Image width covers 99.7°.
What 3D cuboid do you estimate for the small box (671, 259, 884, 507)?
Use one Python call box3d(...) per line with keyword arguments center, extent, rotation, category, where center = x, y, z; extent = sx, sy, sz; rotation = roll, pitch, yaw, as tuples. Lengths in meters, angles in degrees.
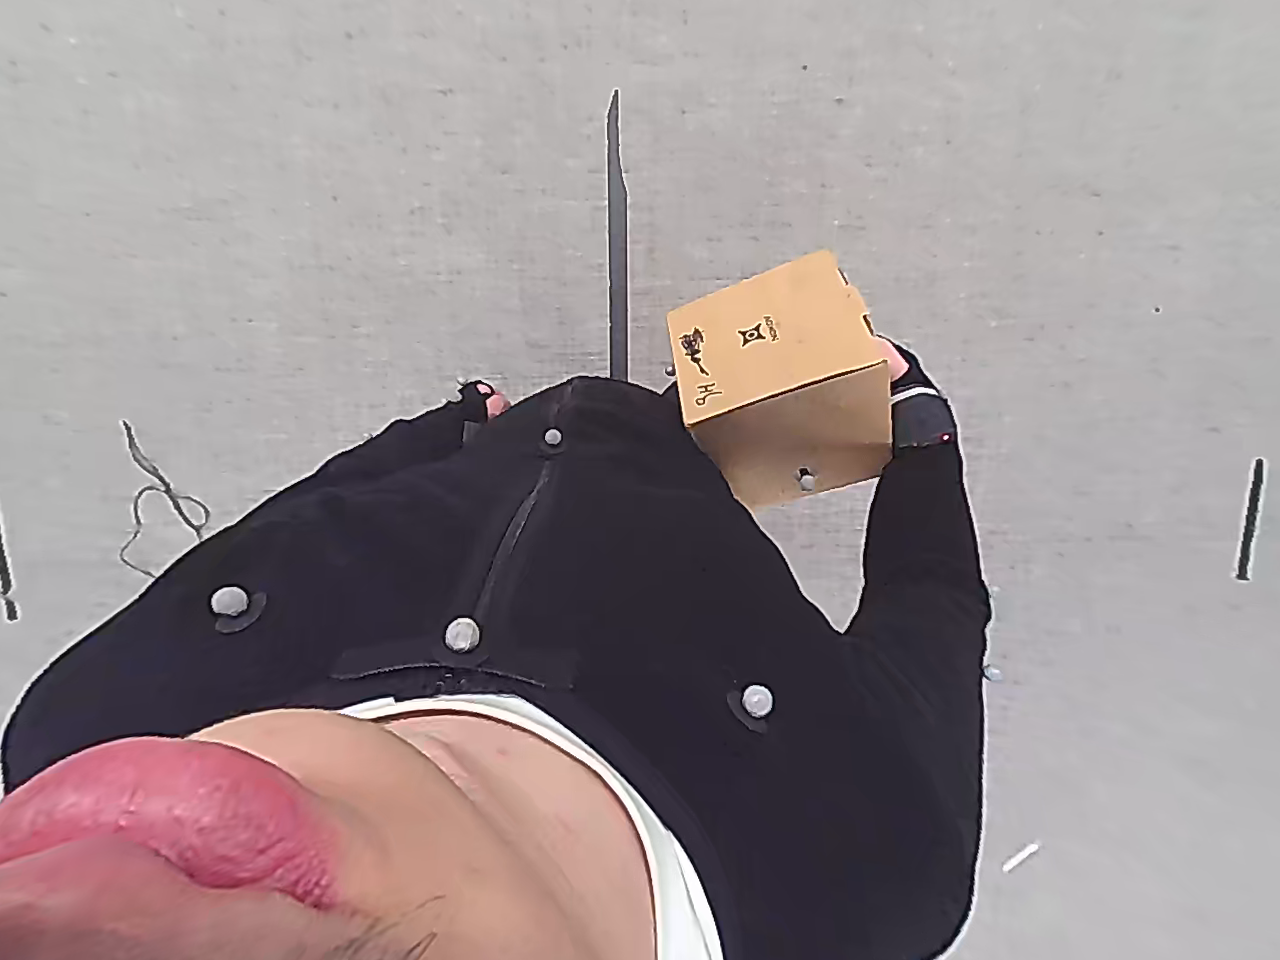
box3d(center=(0.148, -0.095, 0.585), extent=(0.179, 0.168, 0.176), rotation=(-17, 141, 15), category="small box")
